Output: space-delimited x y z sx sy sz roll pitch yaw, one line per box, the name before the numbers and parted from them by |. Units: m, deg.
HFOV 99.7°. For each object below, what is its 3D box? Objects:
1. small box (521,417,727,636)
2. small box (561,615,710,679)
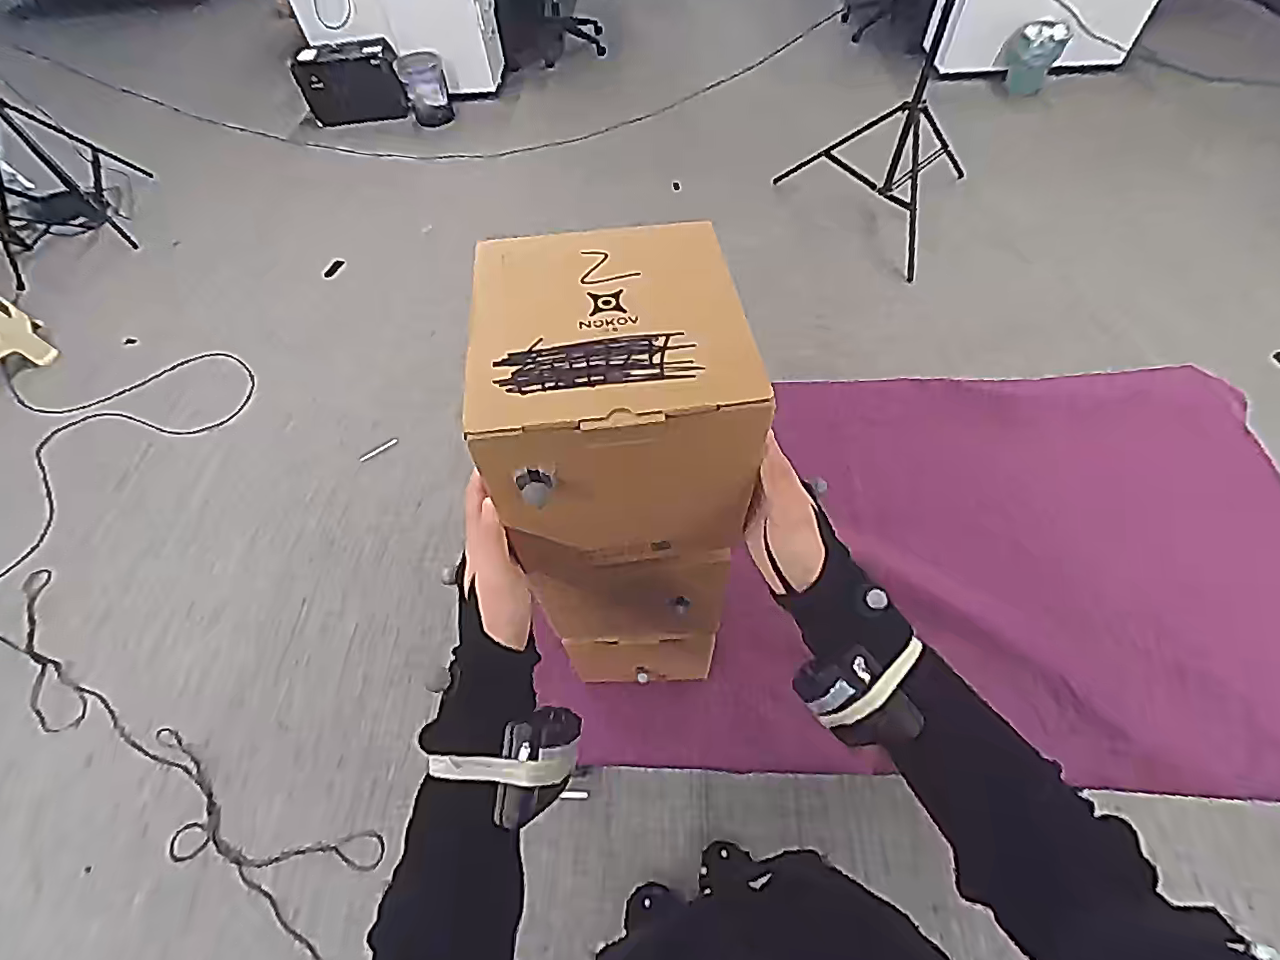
small box | -0.012 0.054 0.563 0.179 0.176 0.168 -3 54 2
small box | -0.002 0.145 0.697 0.168 0.176 0.179 -2 56 2
